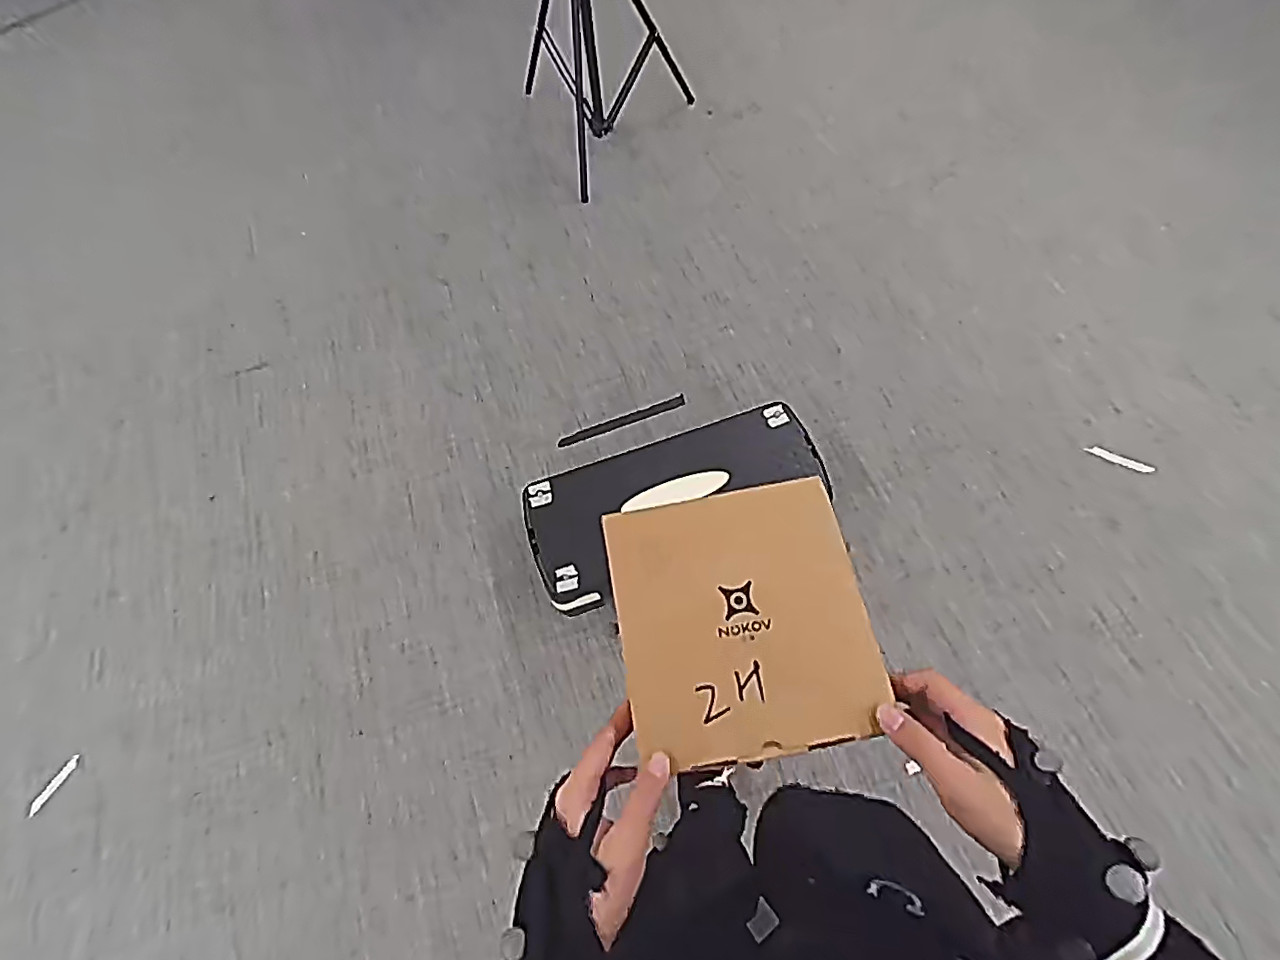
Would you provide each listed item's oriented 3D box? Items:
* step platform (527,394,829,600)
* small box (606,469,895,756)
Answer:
[{"bbox_3d":[0.084,0.039,1.276,0.684,0.204,0.286,-19,68,-4],"label":"step platform"},{"bbox_3d":[0.071,0.114,0.440,0.168,0.176,0.179,-10,66,1],"label":"small box"}]
